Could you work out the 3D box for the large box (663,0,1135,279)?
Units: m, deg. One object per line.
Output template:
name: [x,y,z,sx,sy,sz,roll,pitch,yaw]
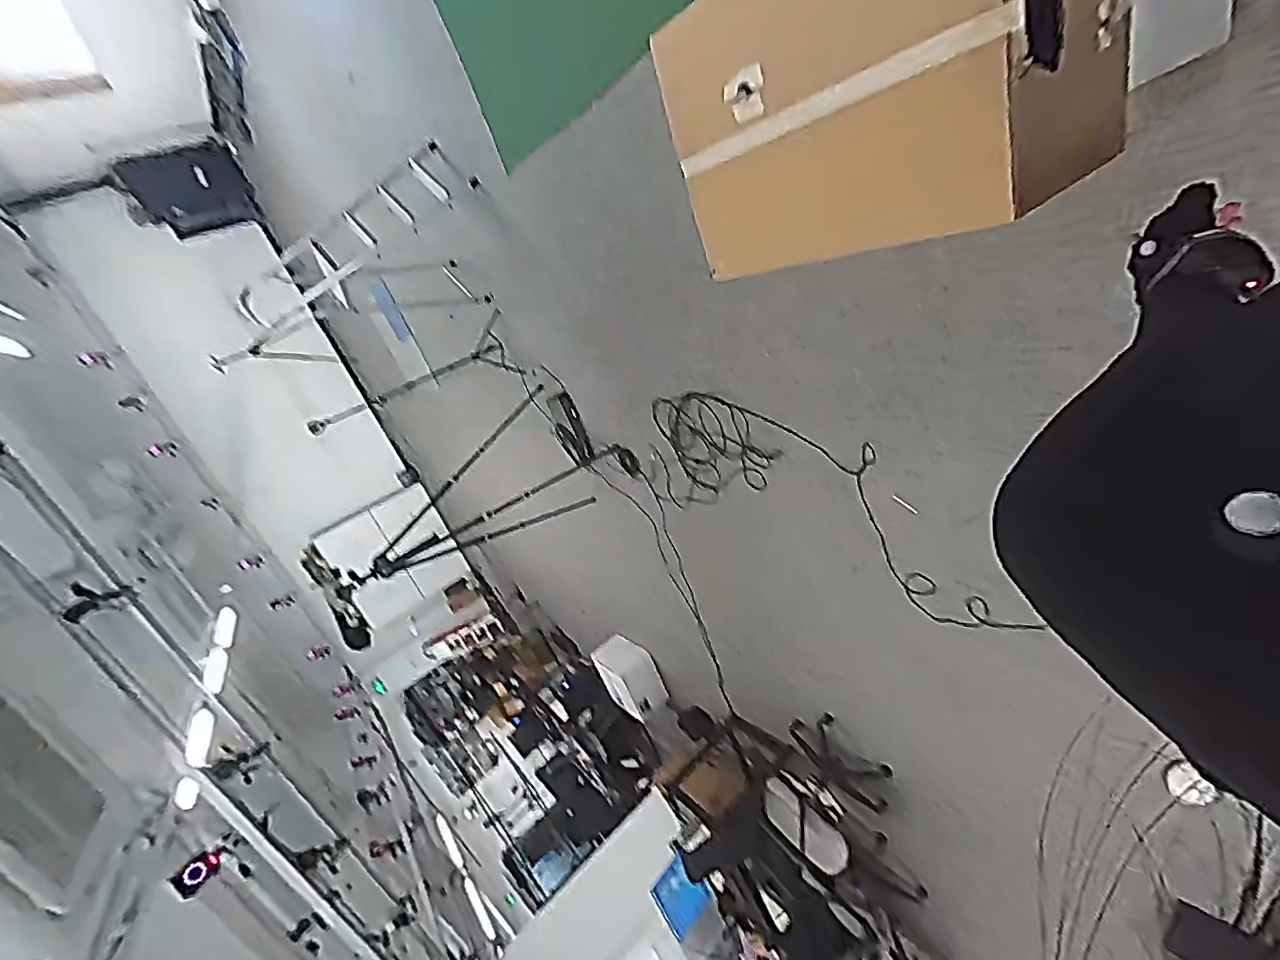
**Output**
large box: [0.303,-0.481,0.668,0.408,0.320,0.320,16,132,54]
